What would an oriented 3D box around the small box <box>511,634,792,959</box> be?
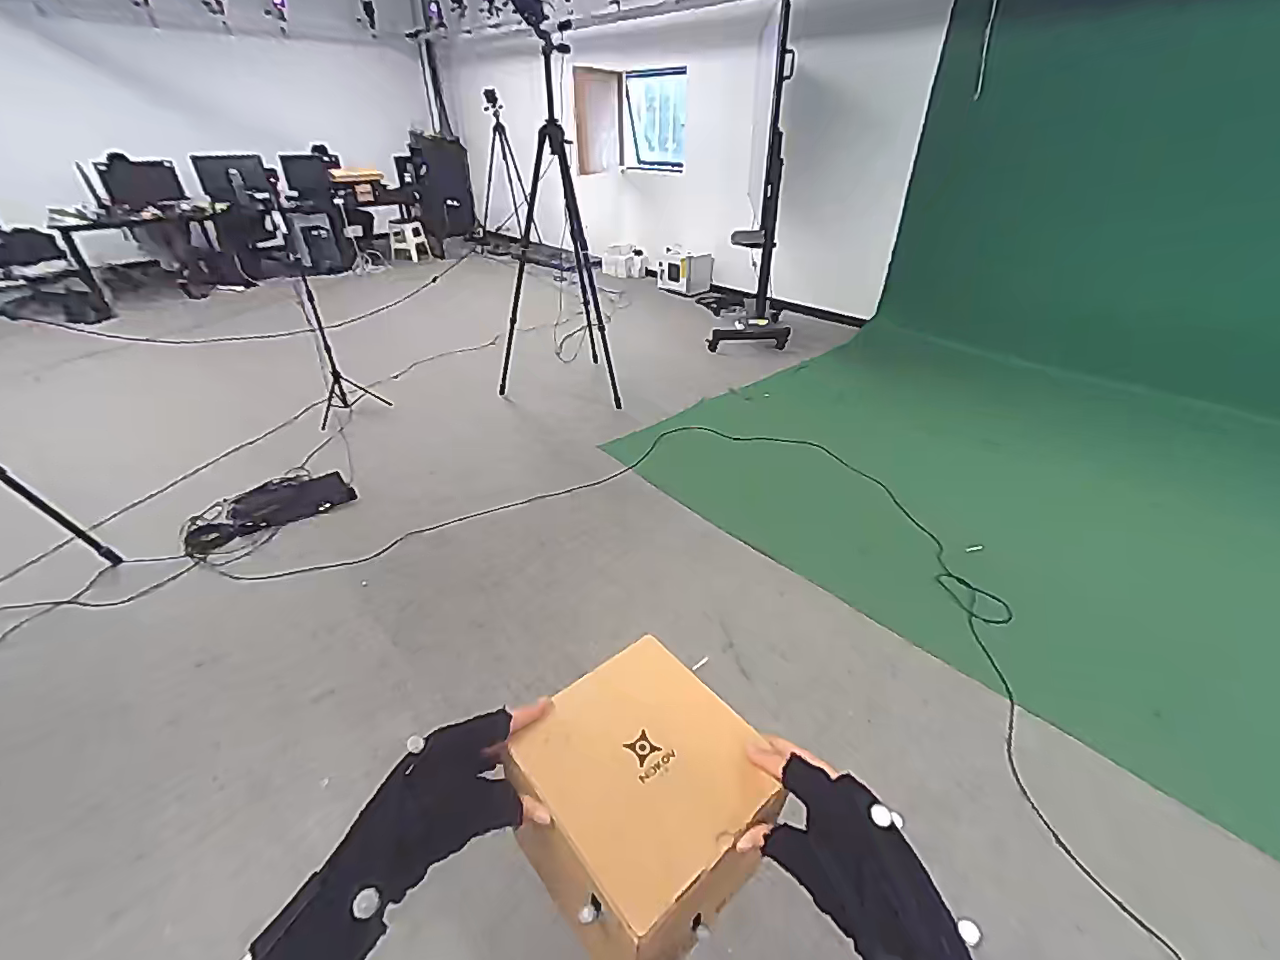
[{"bbox_3d":[0.000,0.282,0.483,0.168,0.176,0.179,-22,43,-35],"label":"small box"}]
